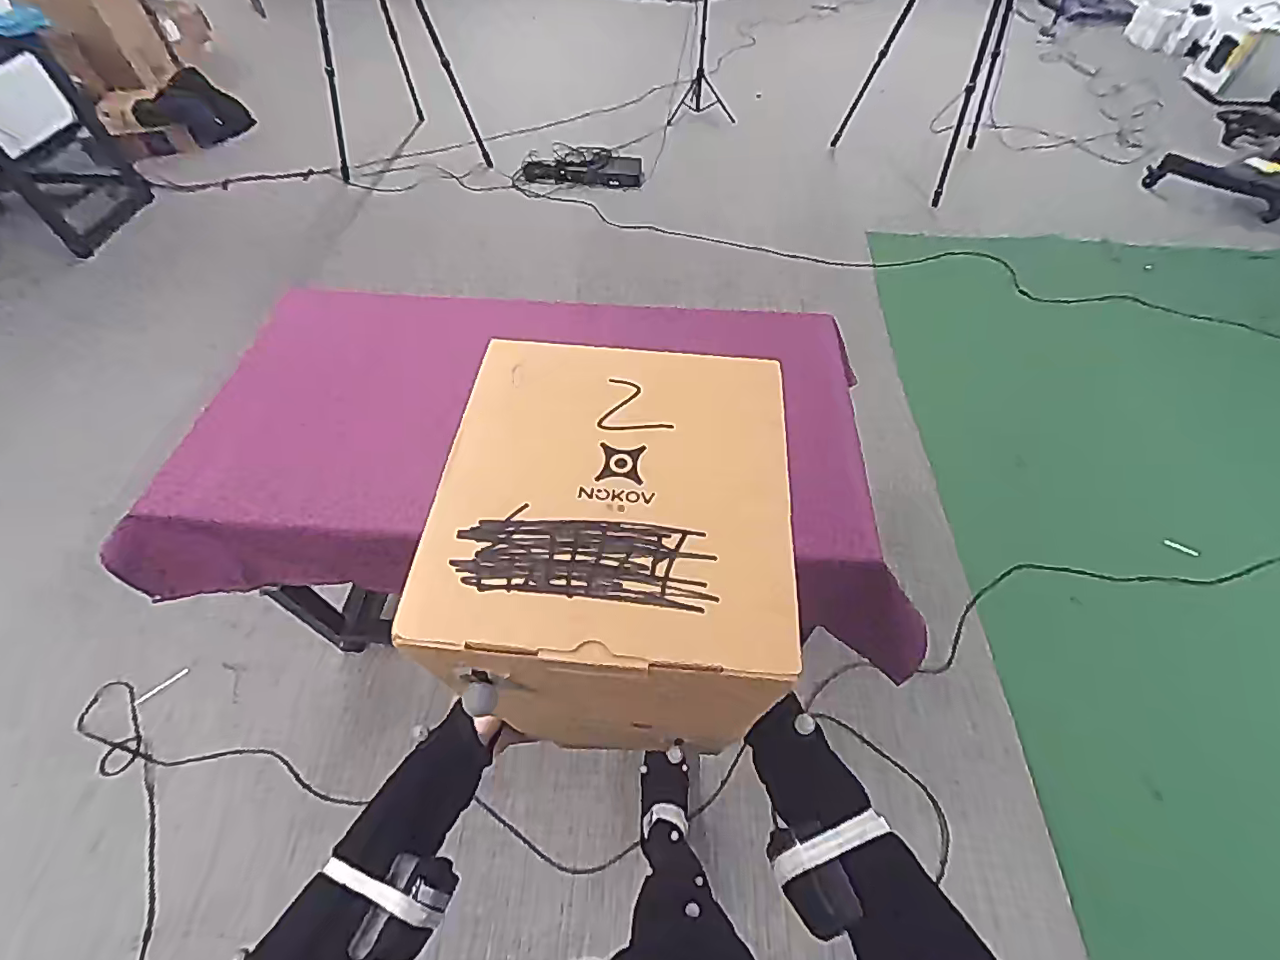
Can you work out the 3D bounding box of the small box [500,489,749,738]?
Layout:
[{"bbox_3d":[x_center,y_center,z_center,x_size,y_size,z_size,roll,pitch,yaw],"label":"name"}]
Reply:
[{"bbox_3d":[-0.006,0.126,0.483,0.179,0.176,0.168,4,57,2],"label":"small box"}]
